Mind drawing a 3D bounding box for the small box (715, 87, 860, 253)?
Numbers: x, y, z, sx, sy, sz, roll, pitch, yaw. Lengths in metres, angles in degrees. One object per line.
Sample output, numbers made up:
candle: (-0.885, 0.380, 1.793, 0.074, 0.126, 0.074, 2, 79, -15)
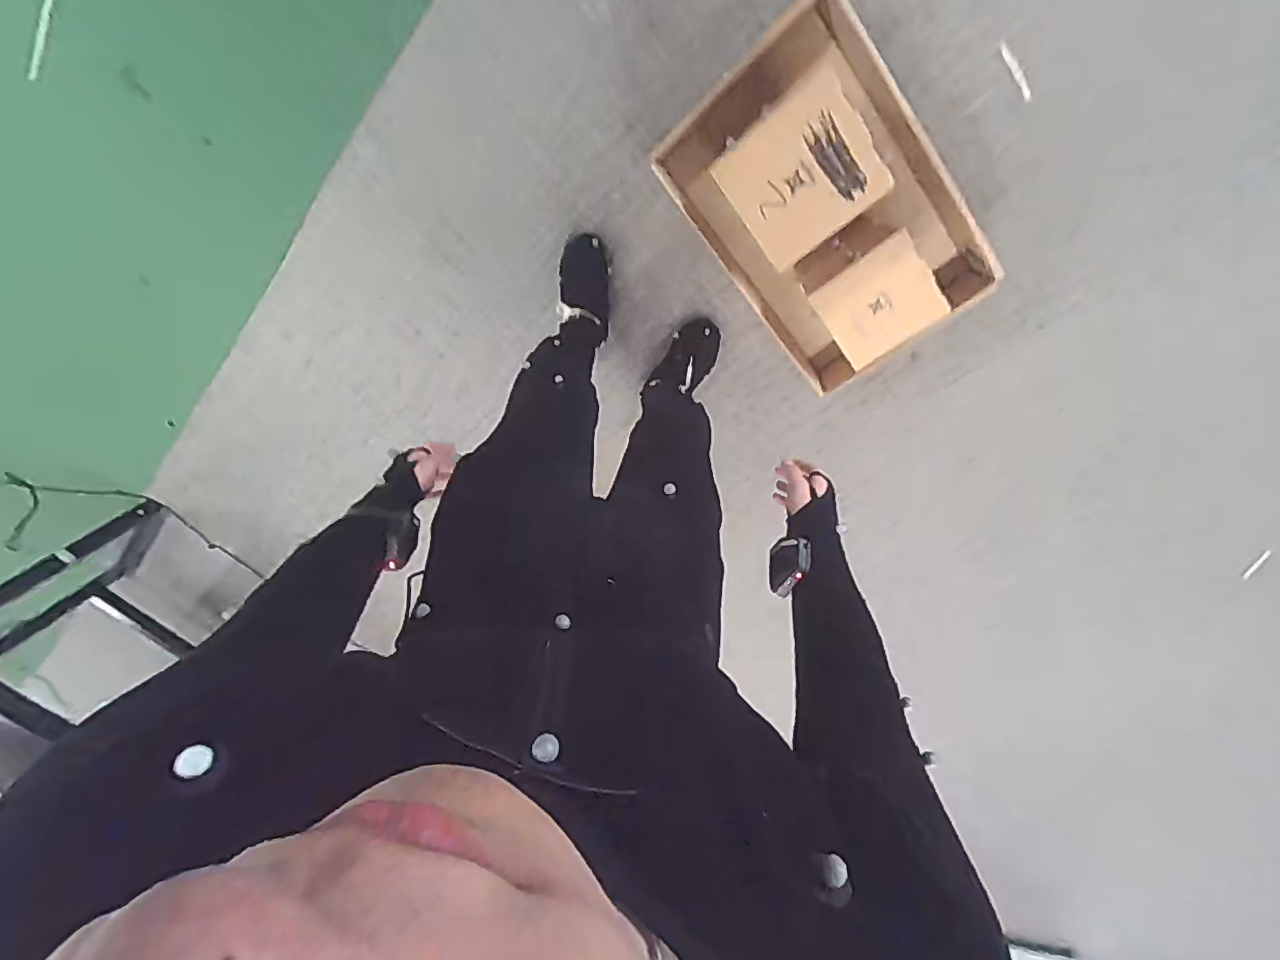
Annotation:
small box: (0.240, -0.520, 0.918, 0.179, 0.176, 0.168, -31, 111, 23)

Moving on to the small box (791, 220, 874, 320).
small box: (0.435, -0.419, 1.140, 0.179, 0.176, 0.168, -35, 109, 26)

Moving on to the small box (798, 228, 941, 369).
small box: (0.411, -0.341, 0.998, 0.179, 0.176, 0.168, -33, 108, 25)
